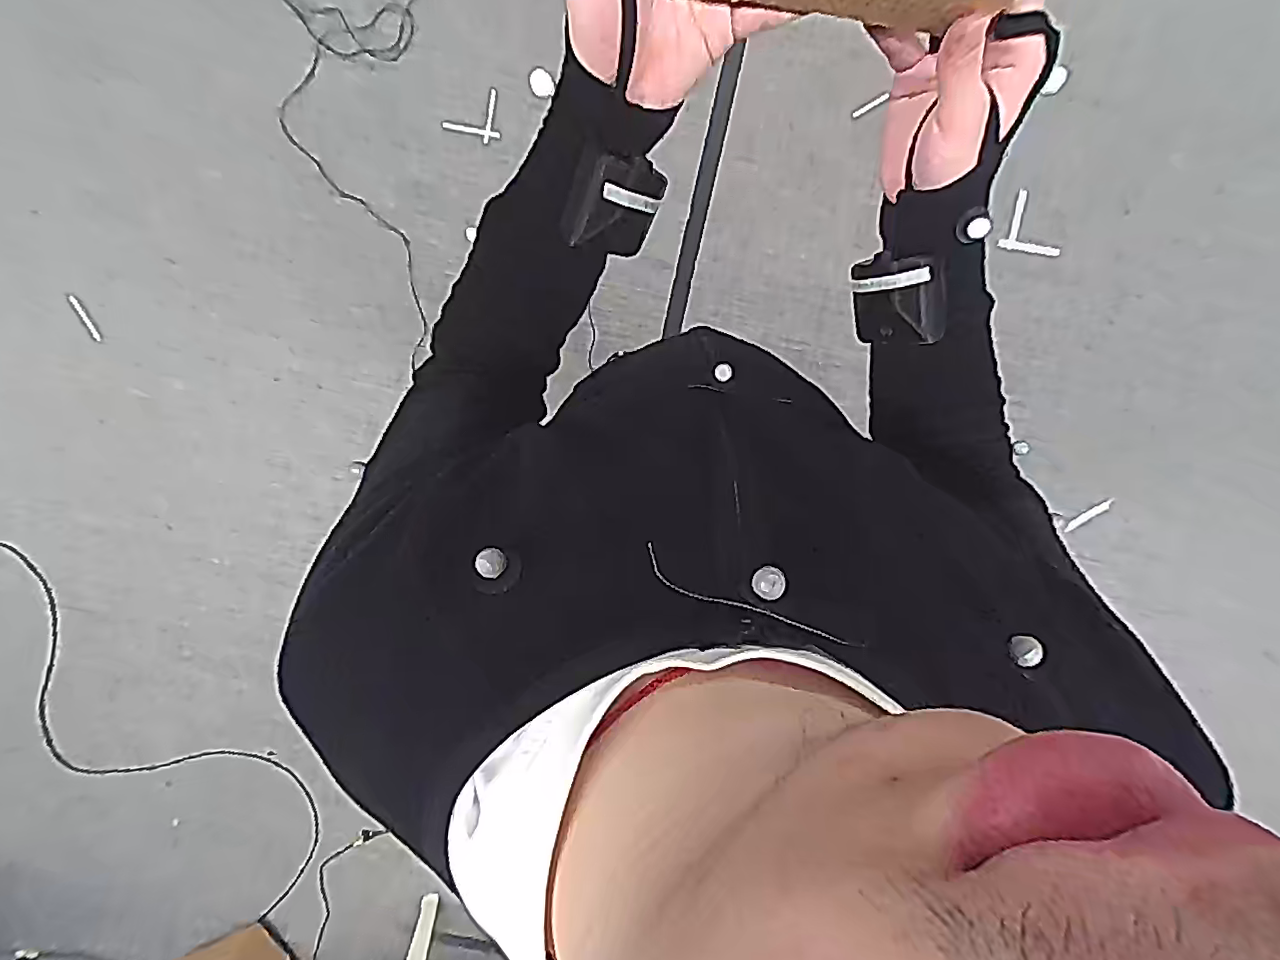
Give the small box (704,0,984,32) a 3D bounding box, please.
[{"bbox_3d":[0.096,-0.296,0.185,0.179,0.176,0.168,7,107,-2],"label":"small box"}]
